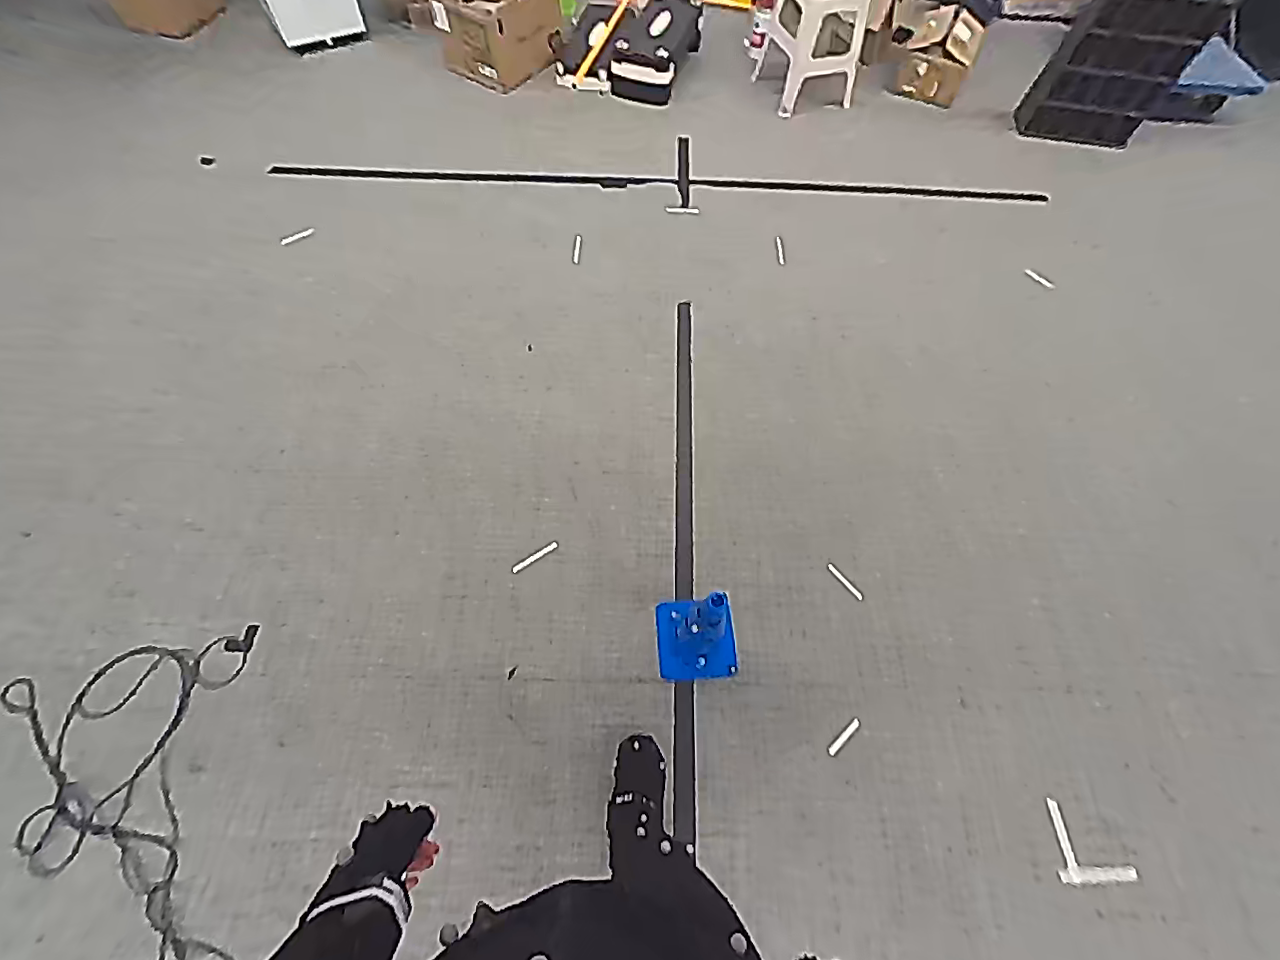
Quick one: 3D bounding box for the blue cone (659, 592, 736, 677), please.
[{"bbox_3d":[0.155,0.332,1.262,0.192,0.380,0.193,0,62,-3],"label":"blue cone"}]
